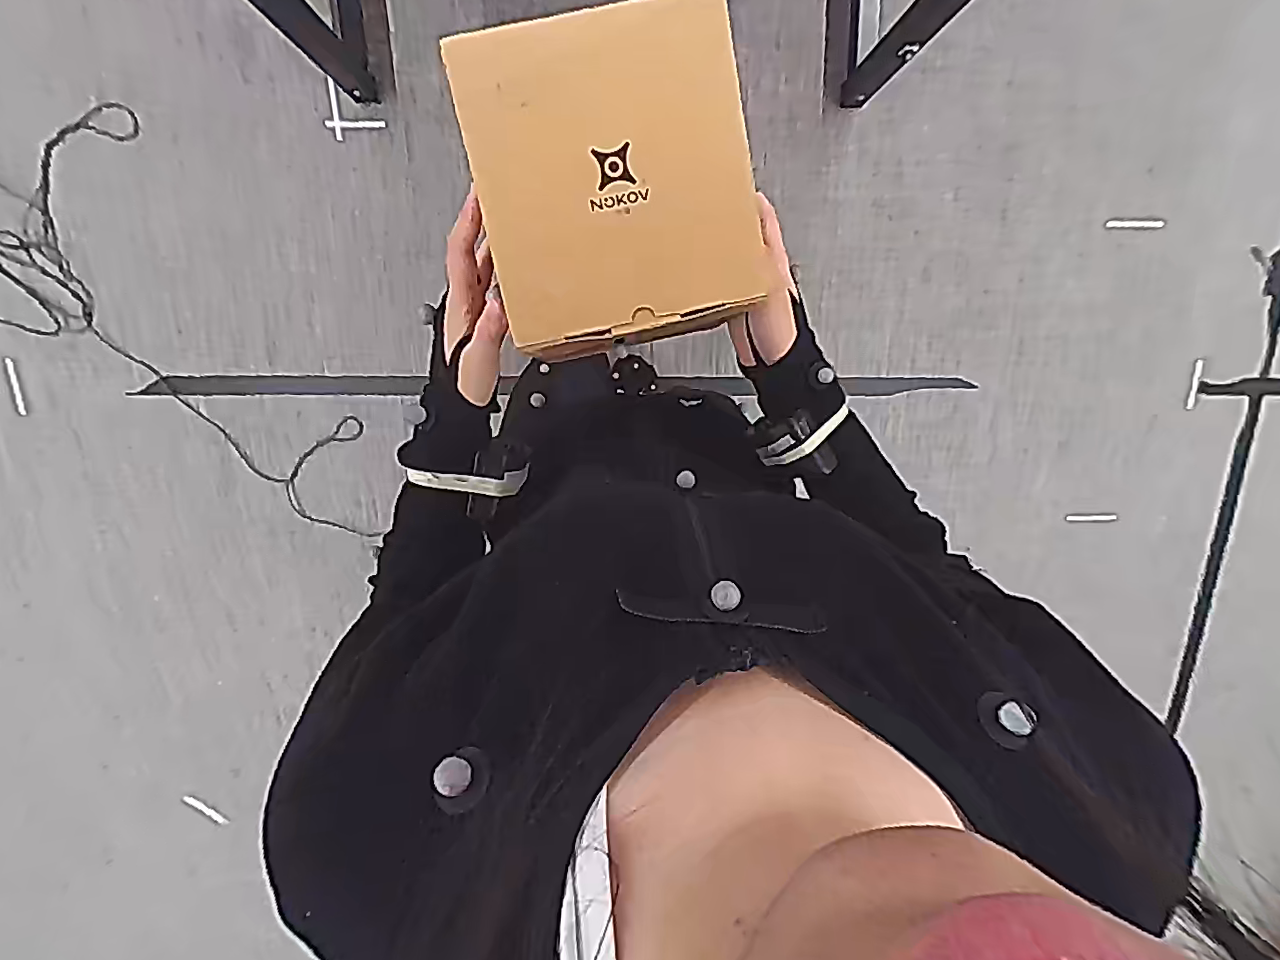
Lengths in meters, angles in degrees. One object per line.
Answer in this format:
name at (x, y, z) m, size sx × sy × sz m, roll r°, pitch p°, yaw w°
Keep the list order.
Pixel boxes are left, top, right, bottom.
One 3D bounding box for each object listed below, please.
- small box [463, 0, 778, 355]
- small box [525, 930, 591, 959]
small box at (-0.014, -0.198, 0.402) m, size 0.168 × 0.176 × 0.179 m, roll -12°, pitch 101°, yaw -3°
small box at (-0.218, 1.341, 1.435) m, size 0.179 × 0.176 × 0.168 m, roll -1°, pitch 103°, yaw -2°
